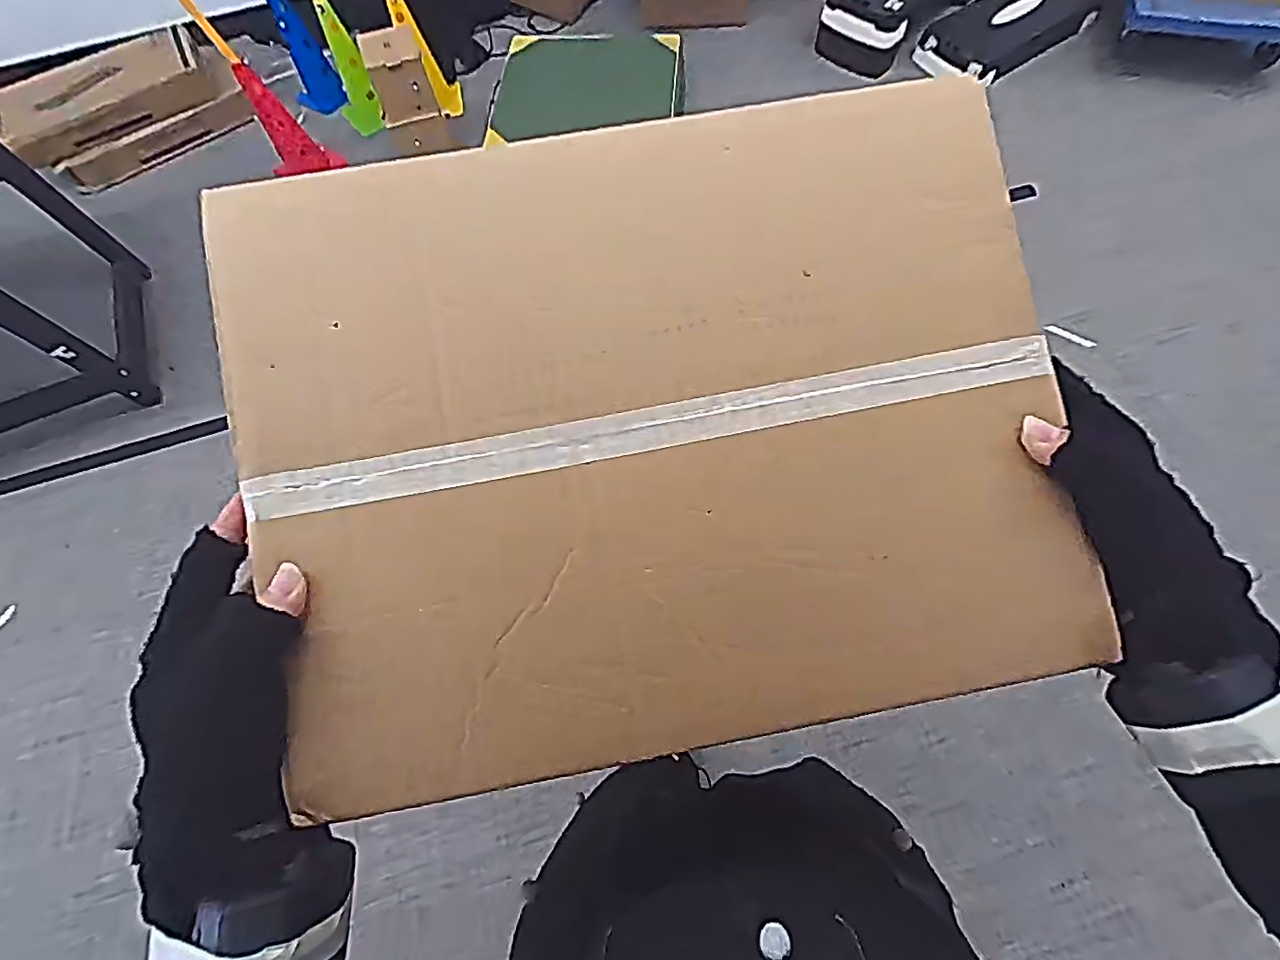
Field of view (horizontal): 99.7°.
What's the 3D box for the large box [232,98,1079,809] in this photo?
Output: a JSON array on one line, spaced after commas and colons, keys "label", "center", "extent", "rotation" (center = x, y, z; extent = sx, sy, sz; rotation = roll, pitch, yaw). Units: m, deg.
[{"label": "large box", "center": [0.006, -0.017, 0.429], "extent": [0.408, 0.320, 0.320], "rotation": [-10, 86, -2]}]
